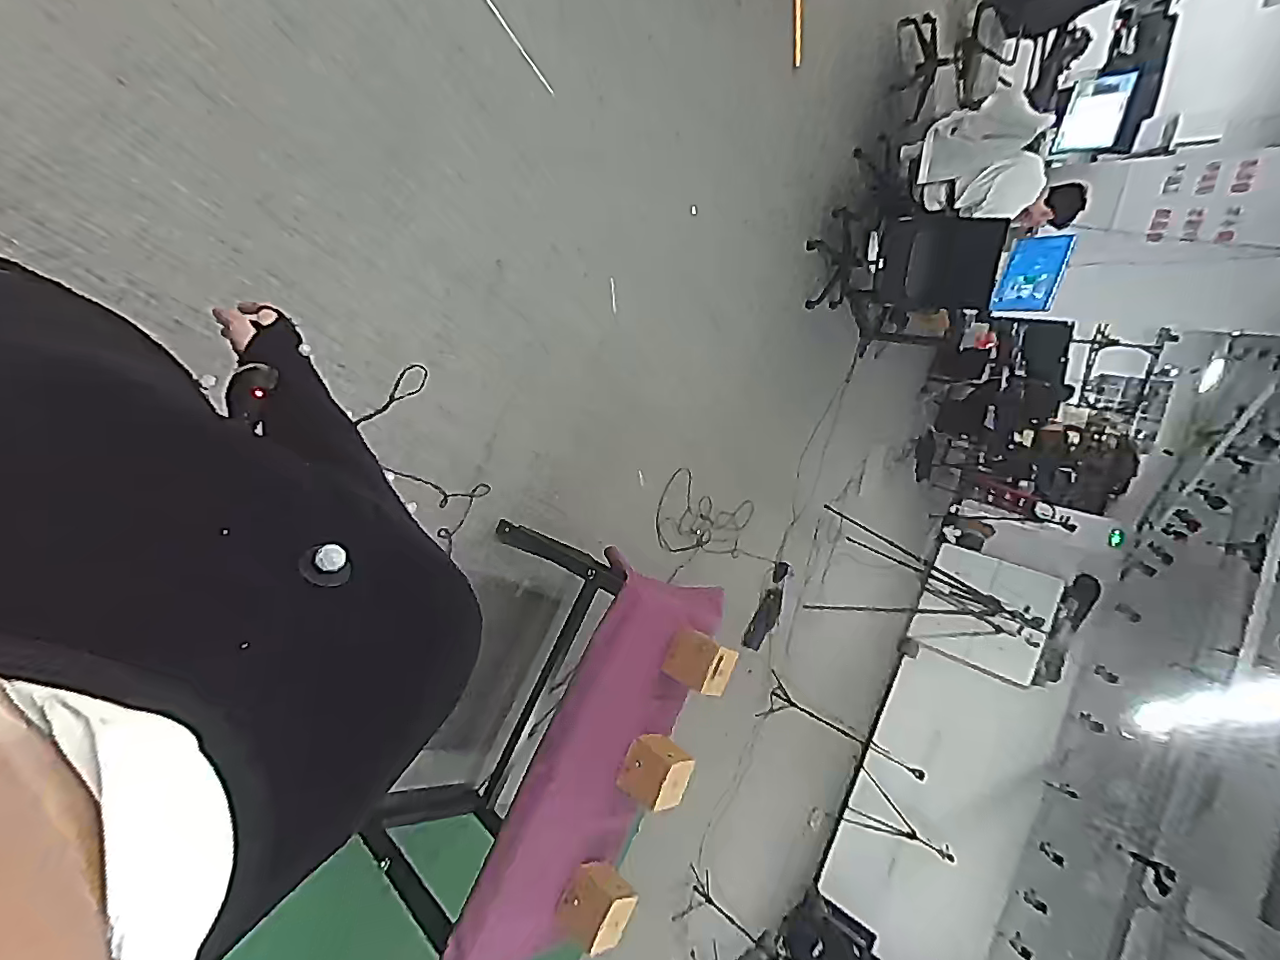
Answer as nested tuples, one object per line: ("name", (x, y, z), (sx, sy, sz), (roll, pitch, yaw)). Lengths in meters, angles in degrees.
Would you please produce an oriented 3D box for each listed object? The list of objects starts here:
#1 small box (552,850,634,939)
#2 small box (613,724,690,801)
("small box", (-0.157, 1.371, 1.804), (0.168, 0.176, 0.179), (-61, 142, -13))
("small box", (0.038, 0.969, 1.873), (0.179, 0.176, 0.168), (28, 83, -52))
